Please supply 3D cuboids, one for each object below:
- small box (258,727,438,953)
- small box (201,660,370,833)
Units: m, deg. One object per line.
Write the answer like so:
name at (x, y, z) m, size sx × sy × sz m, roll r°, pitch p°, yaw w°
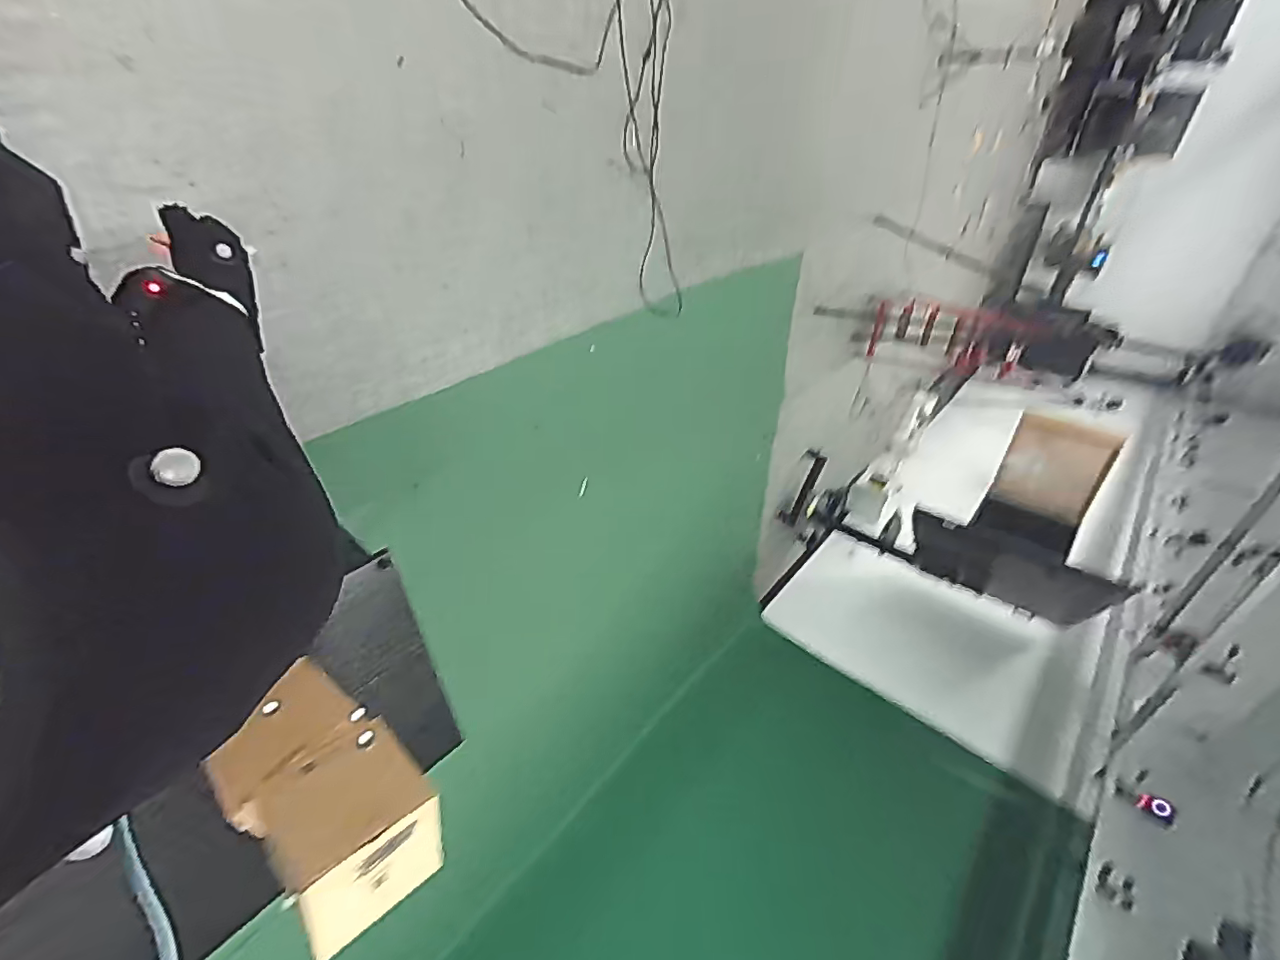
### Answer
small box at (-0.403, 0.479, 0.754) m, size 0.168 × 0.176 × 0.179 m, roll -20°, pitch 129°, yaw -45°
small box at (-0.527, 0.416, 0.842) m, size 0.168 × 0.176 × 0.179 m, roll -40°, pitch 140°, yaw -29°
